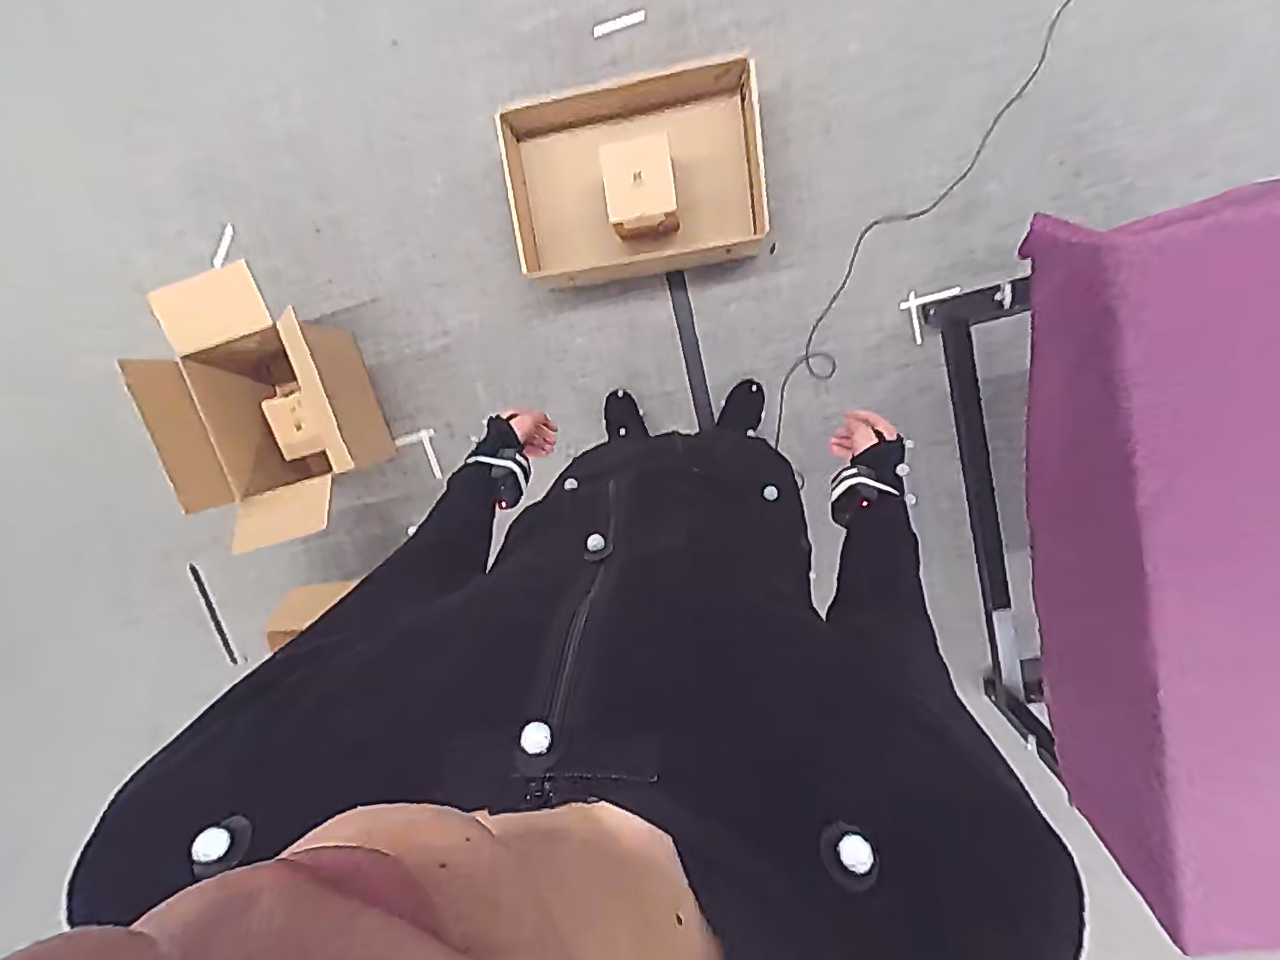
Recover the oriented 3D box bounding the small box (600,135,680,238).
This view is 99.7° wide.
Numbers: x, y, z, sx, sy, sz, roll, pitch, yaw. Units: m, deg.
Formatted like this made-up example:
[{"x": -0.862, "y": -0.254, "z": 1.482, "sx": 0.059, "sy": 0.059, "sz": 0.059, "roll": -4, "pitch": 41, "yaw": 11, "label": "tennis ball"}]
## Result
[{"x": 0.007, "y": -0.718, "z": 1.346, "sx": 0.168, "sy": 0.176, "sz": 0.179, "roll": -7, "pitch": 101, "yaw": 8, "label": "small box"}]
